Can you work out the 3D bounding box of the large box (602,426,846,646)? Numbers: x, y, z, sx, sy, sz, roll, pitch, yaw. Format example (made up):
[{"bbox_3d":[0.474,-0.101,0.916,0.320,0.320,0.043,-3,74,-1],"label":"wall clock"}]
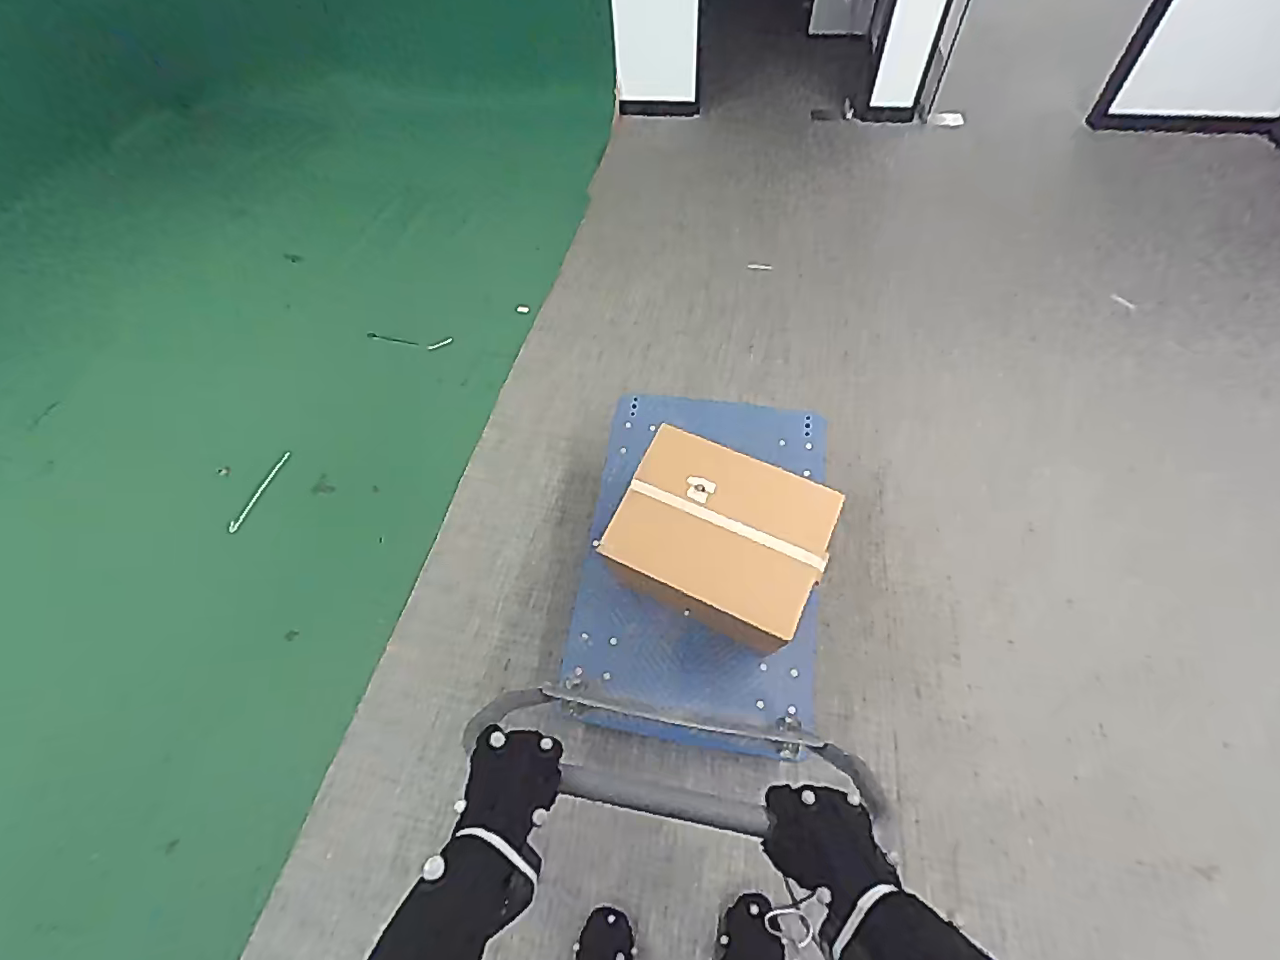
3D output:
[{"bbox_3d":[0.183,0.136,1.199,0.408,0.320,0.320,23,73,15],"label":"large box"}]
